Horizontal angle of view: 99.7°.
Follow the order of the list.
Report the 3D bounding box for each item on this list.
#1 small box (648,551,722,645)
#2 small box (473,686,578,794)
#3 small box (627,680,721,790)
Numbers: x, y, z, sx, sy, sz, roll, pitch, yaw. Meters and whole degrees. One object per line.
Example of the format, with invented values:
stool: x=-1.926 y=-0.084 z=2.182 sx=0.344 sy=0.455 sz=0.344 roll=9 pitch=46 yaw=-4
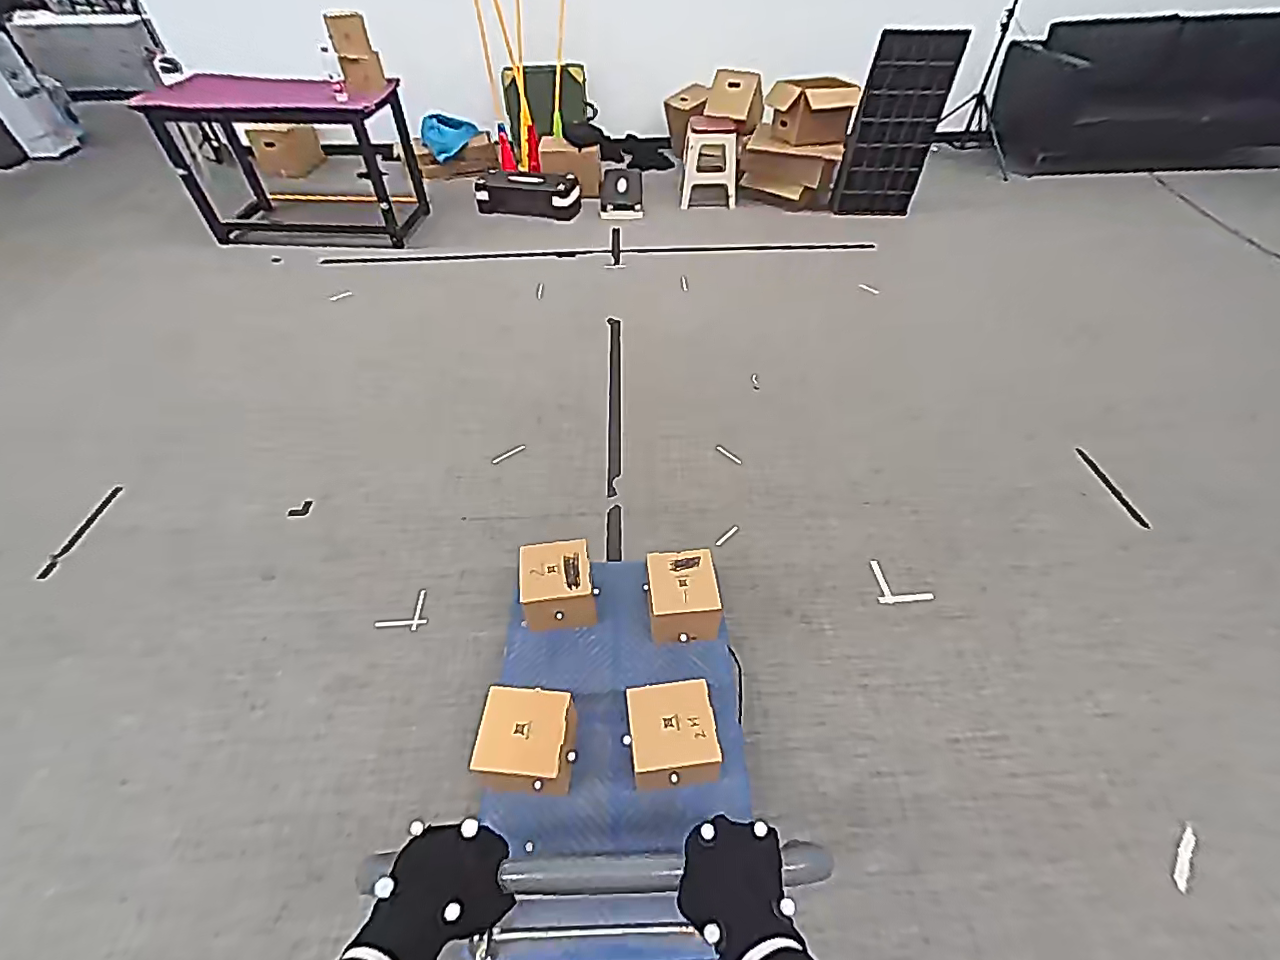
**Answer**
small box: x=0.109 y=0.306 z=1.397 sx=0.168 sy=0.176 sz=0.179 roll=-4 pitch=49 yaw=-3
small box: x=-0.238 y=0.564 z=1.168 sx=0.179 sy=0.176 sz=0.168 roll=4 pitch=48 yaw=2
small box: x=0.068 y=0.556 z=1.172 sx=0.179 sy=0.176 sz=0.168 roll=-5 pitch=48 yaw=-4
